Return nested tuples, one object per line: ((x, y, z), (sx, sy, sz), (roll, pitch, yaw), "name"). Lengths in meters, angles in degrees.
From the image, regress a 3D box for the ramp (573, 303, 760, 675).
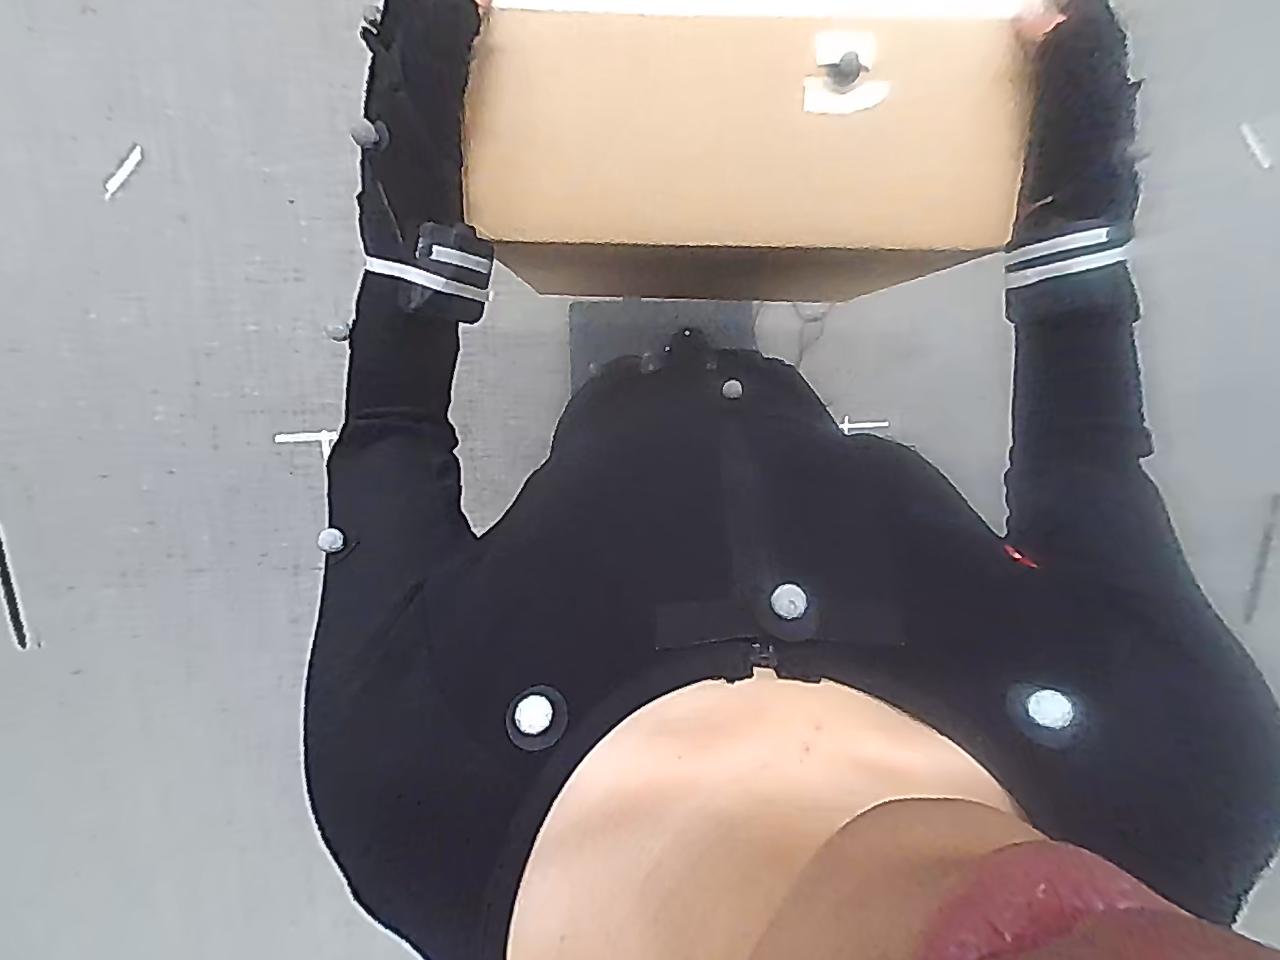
((0.068, 0.025, 1.464), (0.509, 0.206, 0.991), (-3, 100, 2), "ramp")

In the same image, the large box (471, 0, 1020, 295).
((0.072, -0.367, 0.533), (0.408, 0.320, 0.320), (0, 102, -2), "large box")
